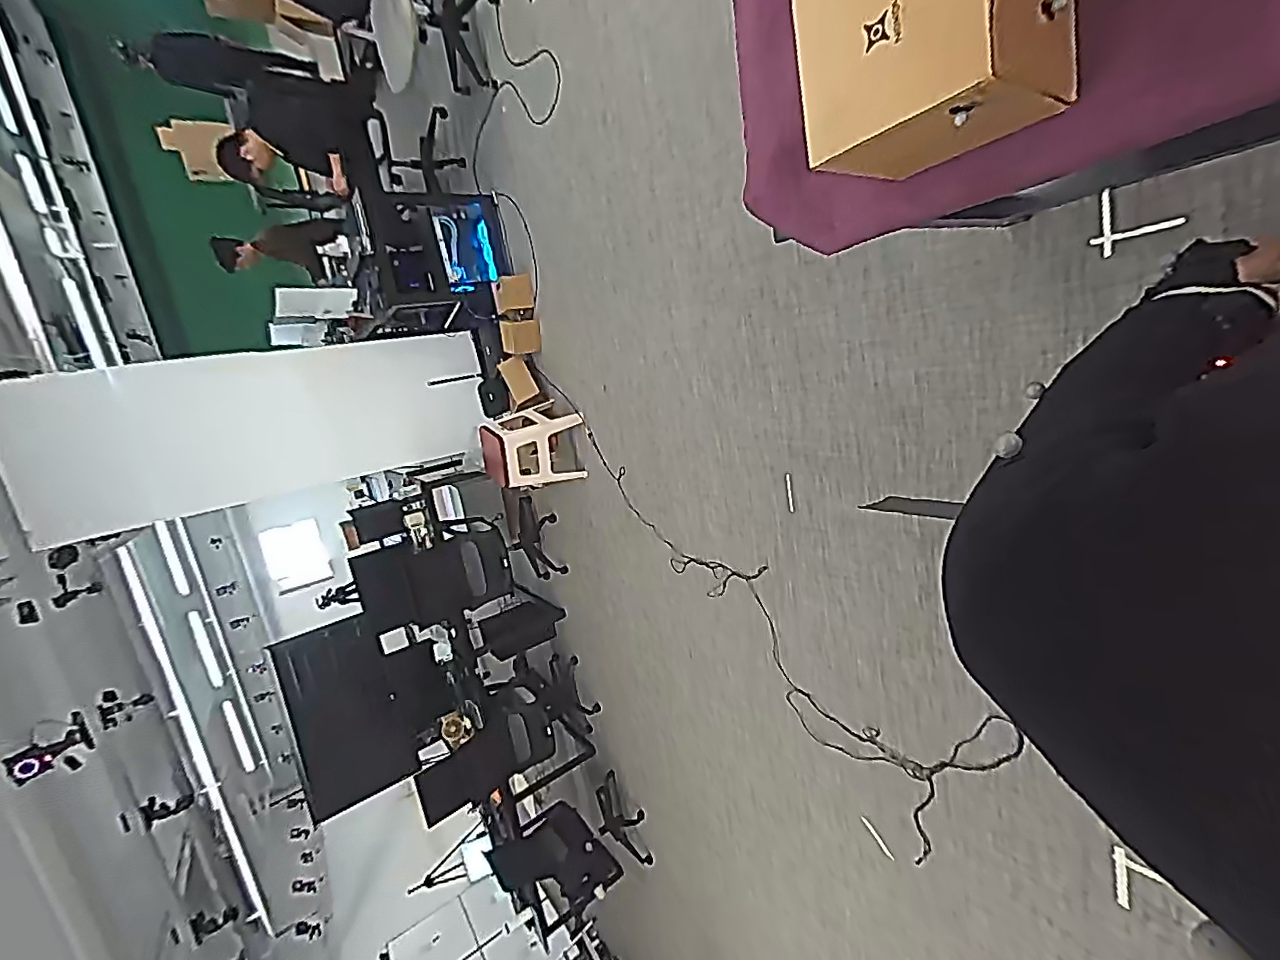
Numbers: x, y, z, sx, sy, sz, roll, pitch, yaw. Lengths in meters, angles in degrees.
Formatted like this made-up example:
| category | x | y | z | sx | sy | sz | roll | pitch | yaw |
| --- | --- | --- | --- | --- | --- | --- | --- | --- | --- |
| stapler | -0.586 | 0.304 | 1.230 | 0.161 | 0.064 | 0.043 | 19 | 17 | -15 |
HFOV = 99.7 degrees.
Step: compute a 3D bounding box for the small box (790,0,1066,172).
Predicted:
| category | x | y | z | sx | sy | sz | roll | pitch | yaw |
| --- | --- | --- | --- | --- | --- | --- | --- | --- | --- |
| small box | 0.276 | -0.422 | 0.526 | 0.179 | 0.176 | 0.168 | 4 | 107 | 55 |
